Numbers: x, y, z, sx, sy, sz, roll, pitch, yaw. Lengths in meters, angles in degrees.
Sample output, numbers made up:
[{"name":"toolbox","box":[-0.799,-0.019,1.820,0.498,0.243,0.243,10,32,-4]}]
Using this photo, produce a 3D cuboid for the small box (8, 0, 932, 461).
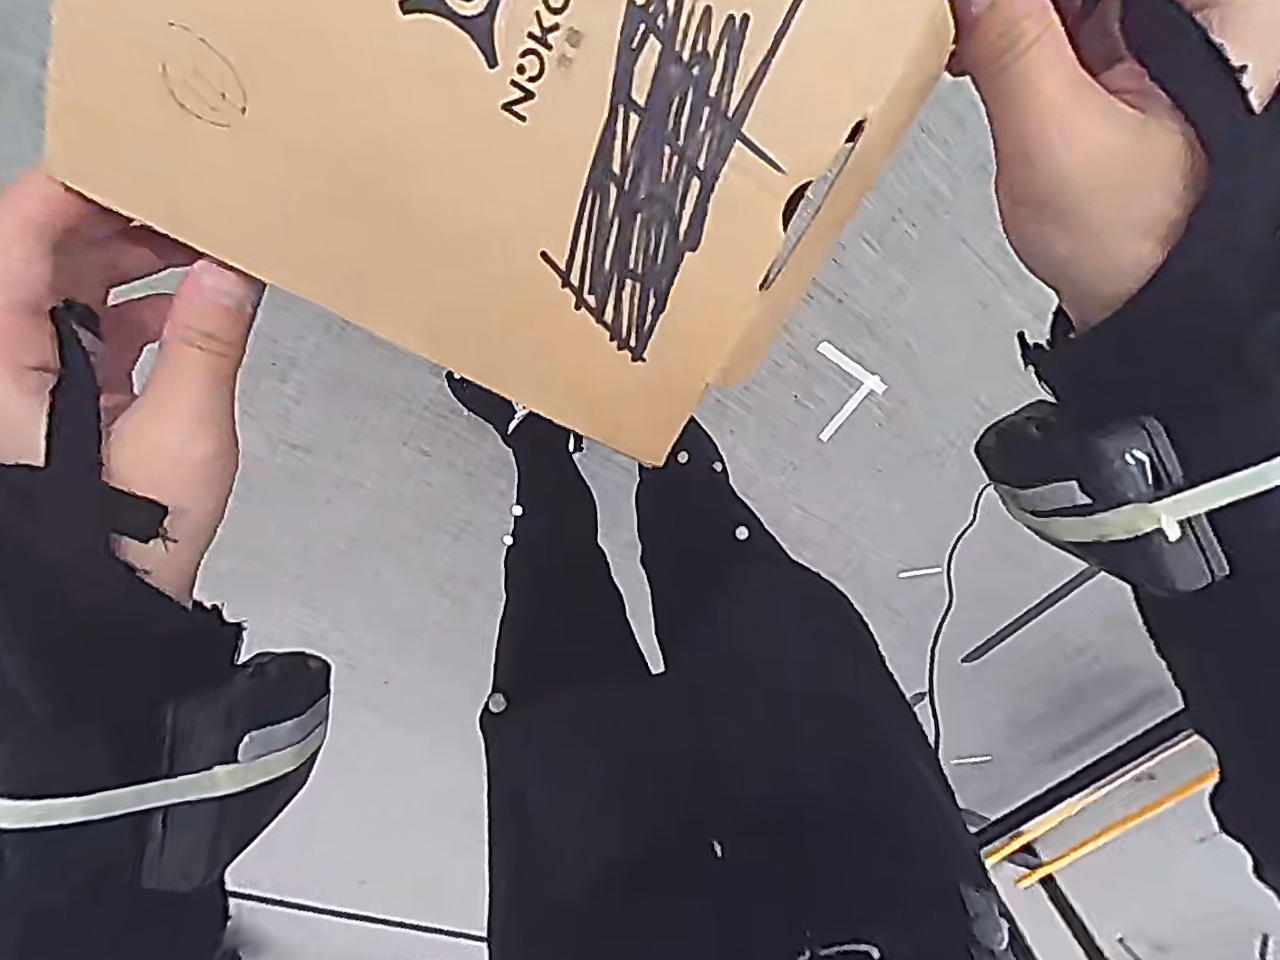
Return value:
[{"name":"small box","box":[-0.038,-0.139,0.190,0.179,0.176,0.168,26,112,-13]}]
